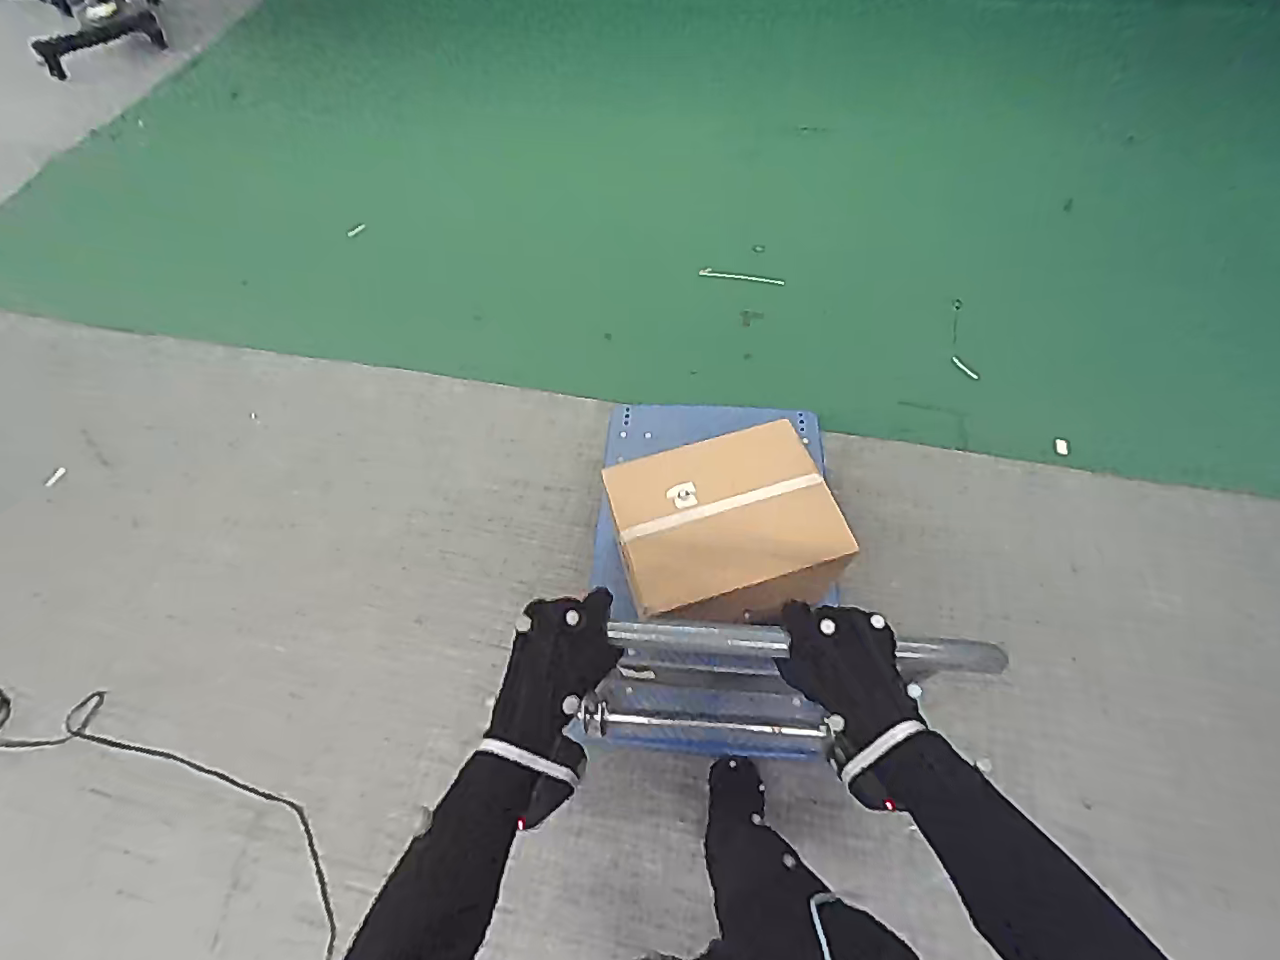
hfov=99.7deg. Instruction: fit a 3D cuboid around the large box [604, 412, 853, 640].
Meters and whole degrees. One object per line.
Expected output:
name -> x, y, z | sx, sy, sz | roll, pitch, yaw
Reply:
large box -> 0.168, 0.109, 1.162 | 0.408, 0.320, 0.320 | -16, 61, -5
